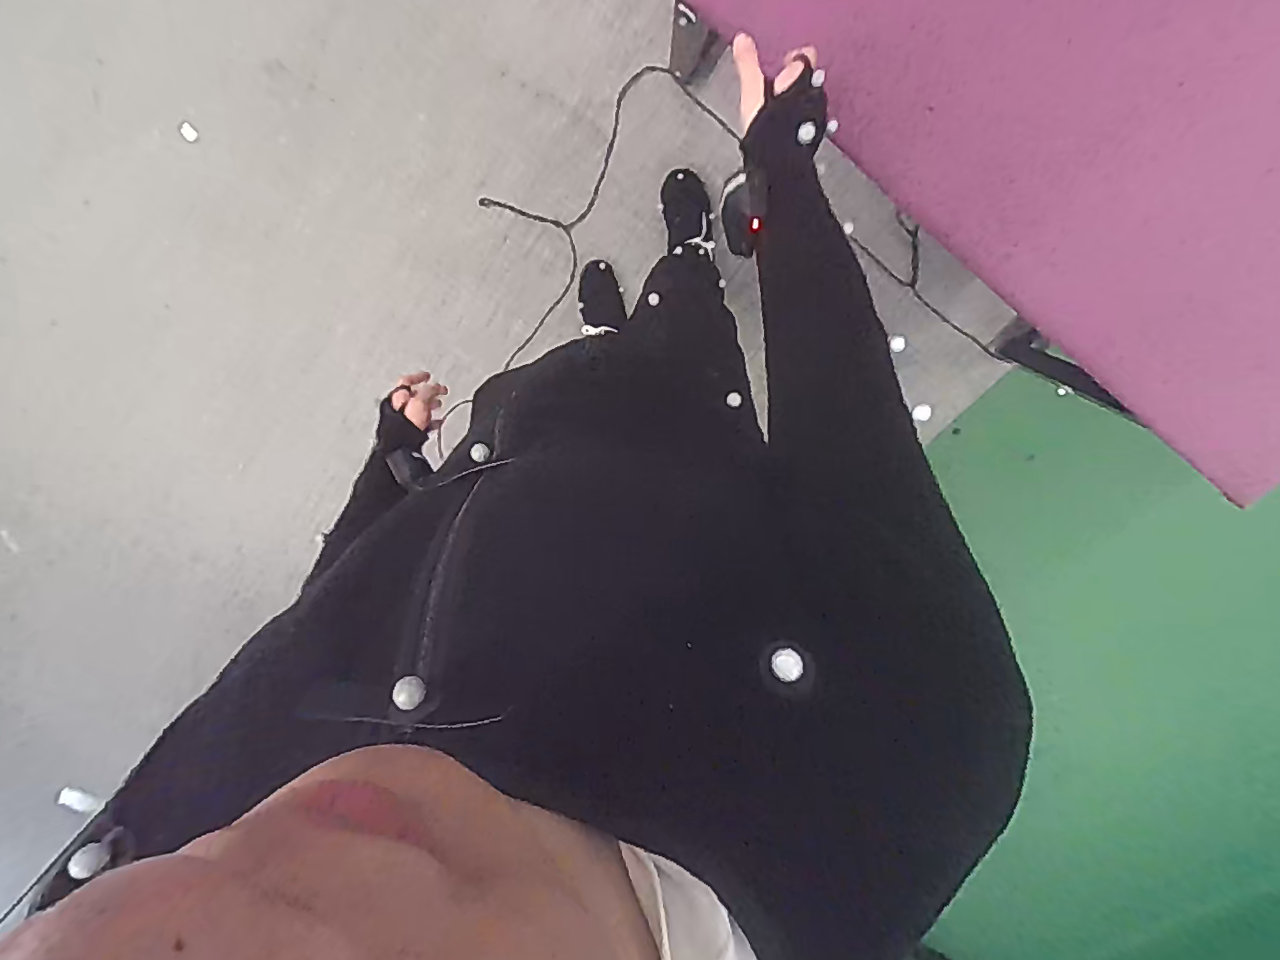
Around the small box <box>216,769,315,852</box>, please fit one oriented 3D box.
[{"bbox_3d":[-1.049,0.947,1.508,0.168,0.176,0.179,35,113,-15],"label":"small box"}]
